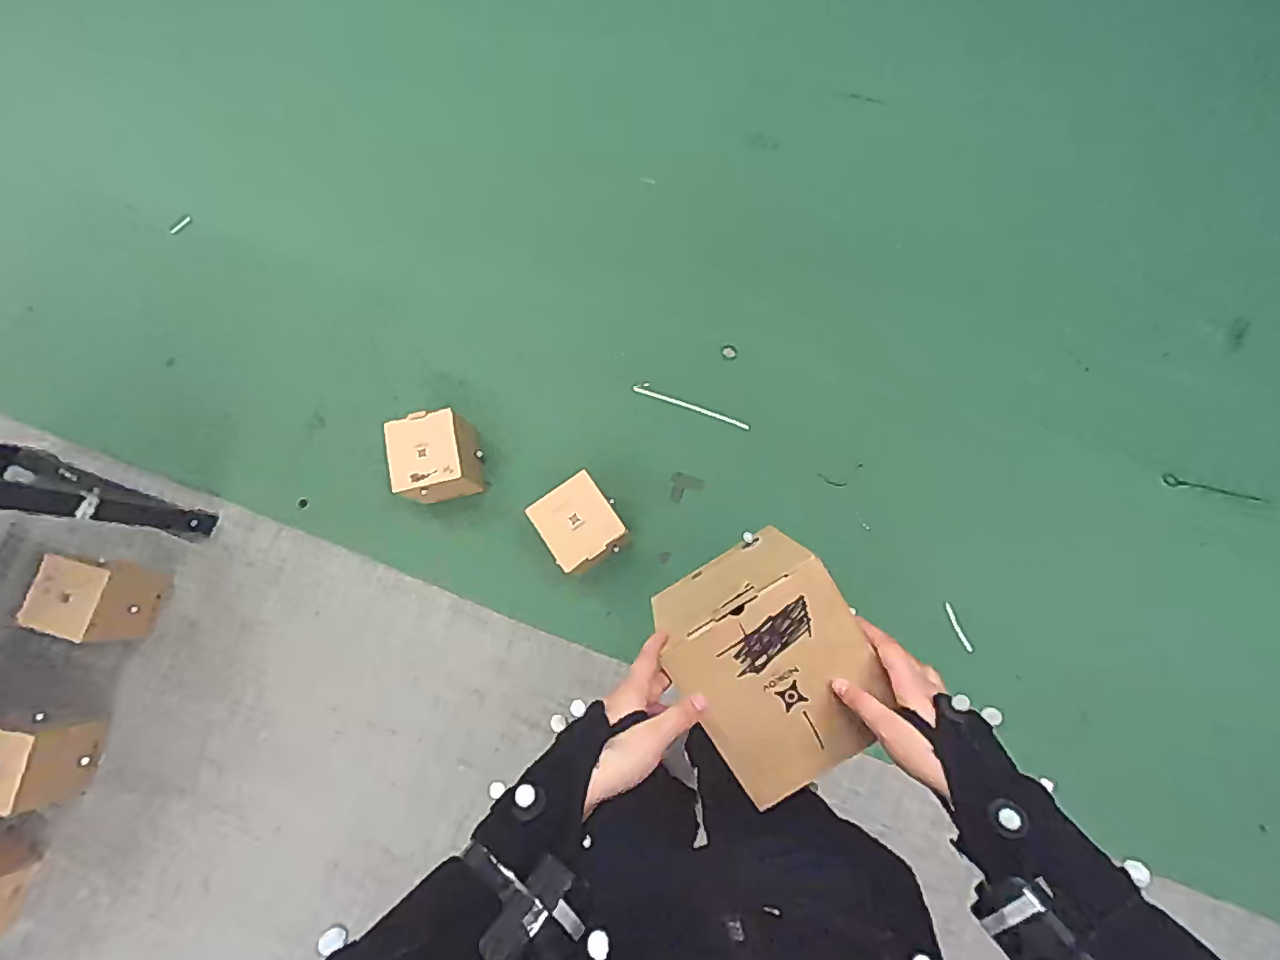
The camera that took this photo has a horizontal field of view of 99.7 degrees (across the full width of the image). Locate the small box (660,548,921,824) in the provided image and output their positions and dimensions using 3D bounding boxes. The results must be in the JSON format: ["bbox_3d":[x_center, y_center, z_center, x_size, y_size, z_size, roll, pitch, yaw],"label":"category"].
[{"bbox_3d":[0.131,0.184,0.547,0.168,0.176,0.179,-32,94,2],"label":"small box"}]

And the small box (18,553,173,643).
[{"bbox_3d":[-1.298,0.281,1.304,0.179,0.176,0.168,15,79,6],"label":"small box"}]

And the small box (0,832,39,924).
[{"bbox_3d":[-1.515,0.915,1.191,0.179,0.176,0.168,23,81,8],"label":"small box"}]

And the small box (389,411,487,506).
[{"bbox_3d":[-0.489,-0.048,1.326,0.168,0.176,0.179,-12,77,1],"label":"small box"}]

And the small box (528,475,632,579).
[{"bbox_3d":[-0.132,0.115,1.271,0.168,0.176,0.179,-35,78,-5],"label":"small box"}]
